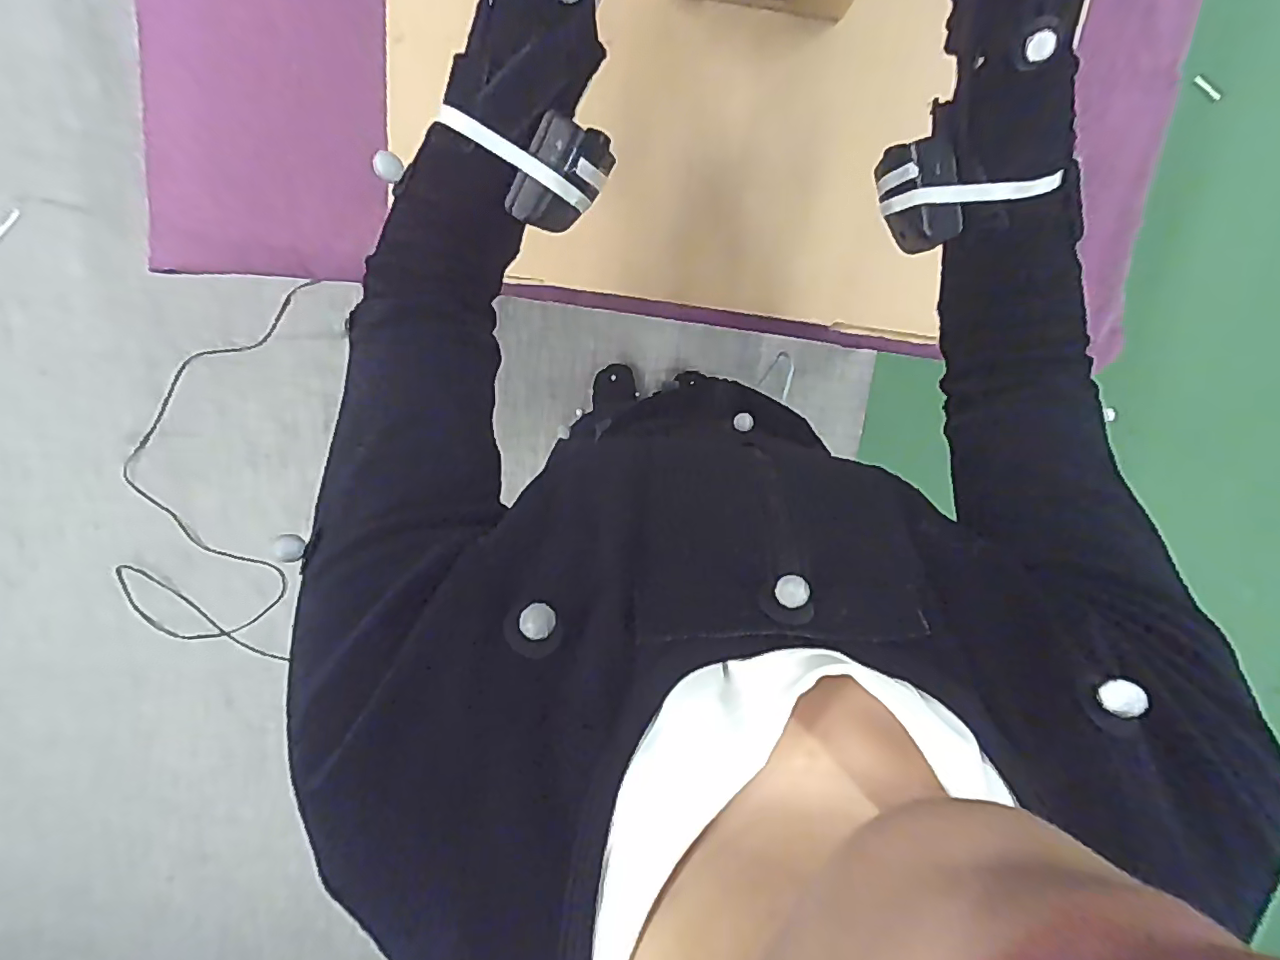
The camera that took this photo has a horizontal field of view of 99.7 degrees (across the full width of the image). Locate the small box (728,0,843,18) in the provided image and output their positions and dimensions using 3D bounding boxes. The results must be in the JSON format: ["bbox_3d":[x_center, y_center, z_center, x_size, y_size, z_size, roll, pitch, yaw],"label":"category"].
[{"bbox_3d":[0.107,-0.485,0.377,0.168,0.176,0.179,8,101,-2],"label":"small box"}]
